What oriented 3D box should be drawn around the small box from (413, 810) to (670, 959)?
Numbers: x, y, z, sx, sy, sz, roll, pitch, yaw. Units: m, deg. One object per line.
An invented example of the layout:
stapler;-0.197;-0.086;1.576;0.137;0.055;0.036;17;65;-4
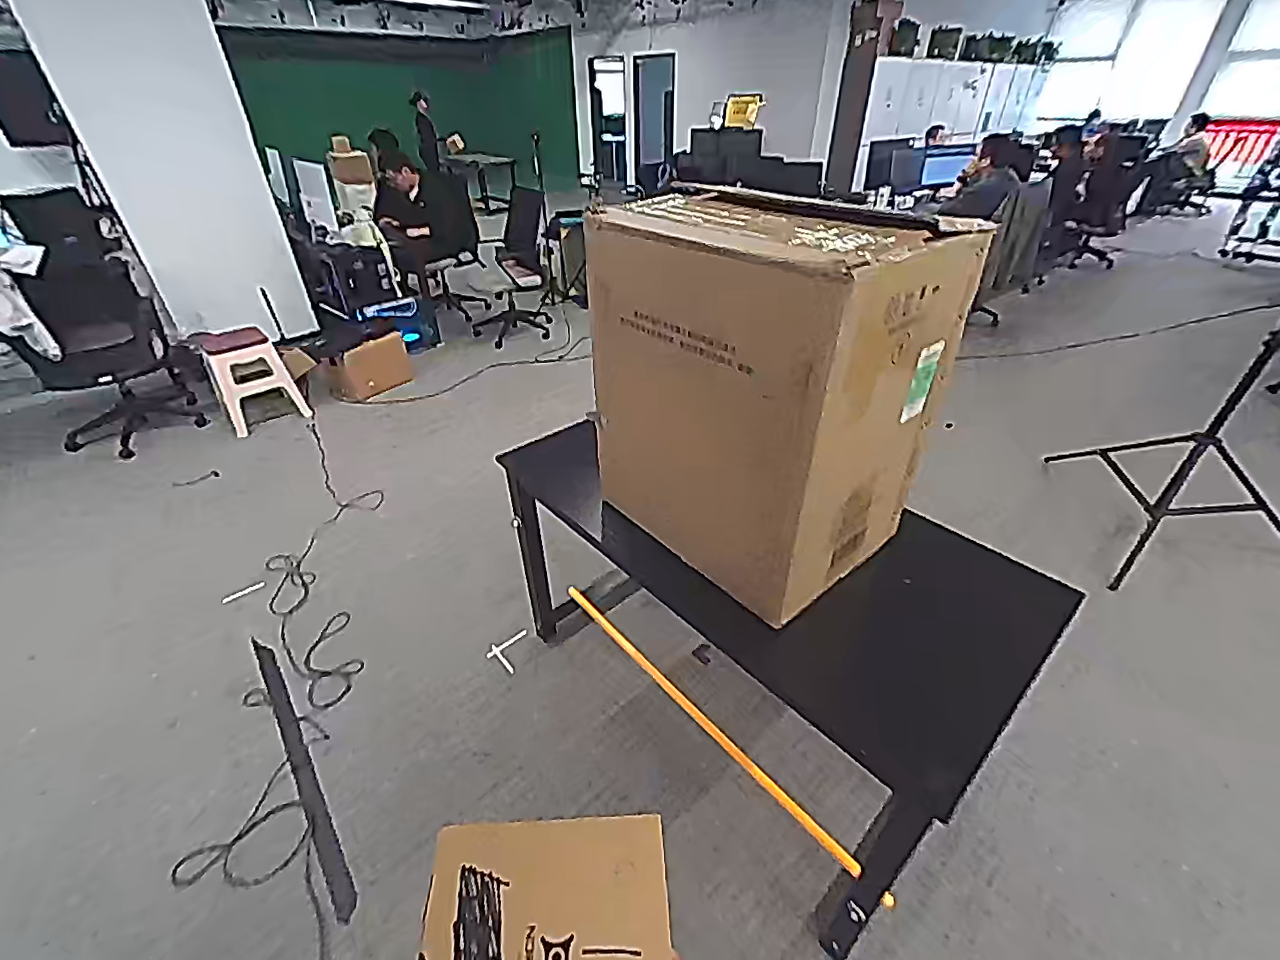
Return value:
small box;-0.070;0.379;0.422;0.179;0.176;0.168;1;42;-4
